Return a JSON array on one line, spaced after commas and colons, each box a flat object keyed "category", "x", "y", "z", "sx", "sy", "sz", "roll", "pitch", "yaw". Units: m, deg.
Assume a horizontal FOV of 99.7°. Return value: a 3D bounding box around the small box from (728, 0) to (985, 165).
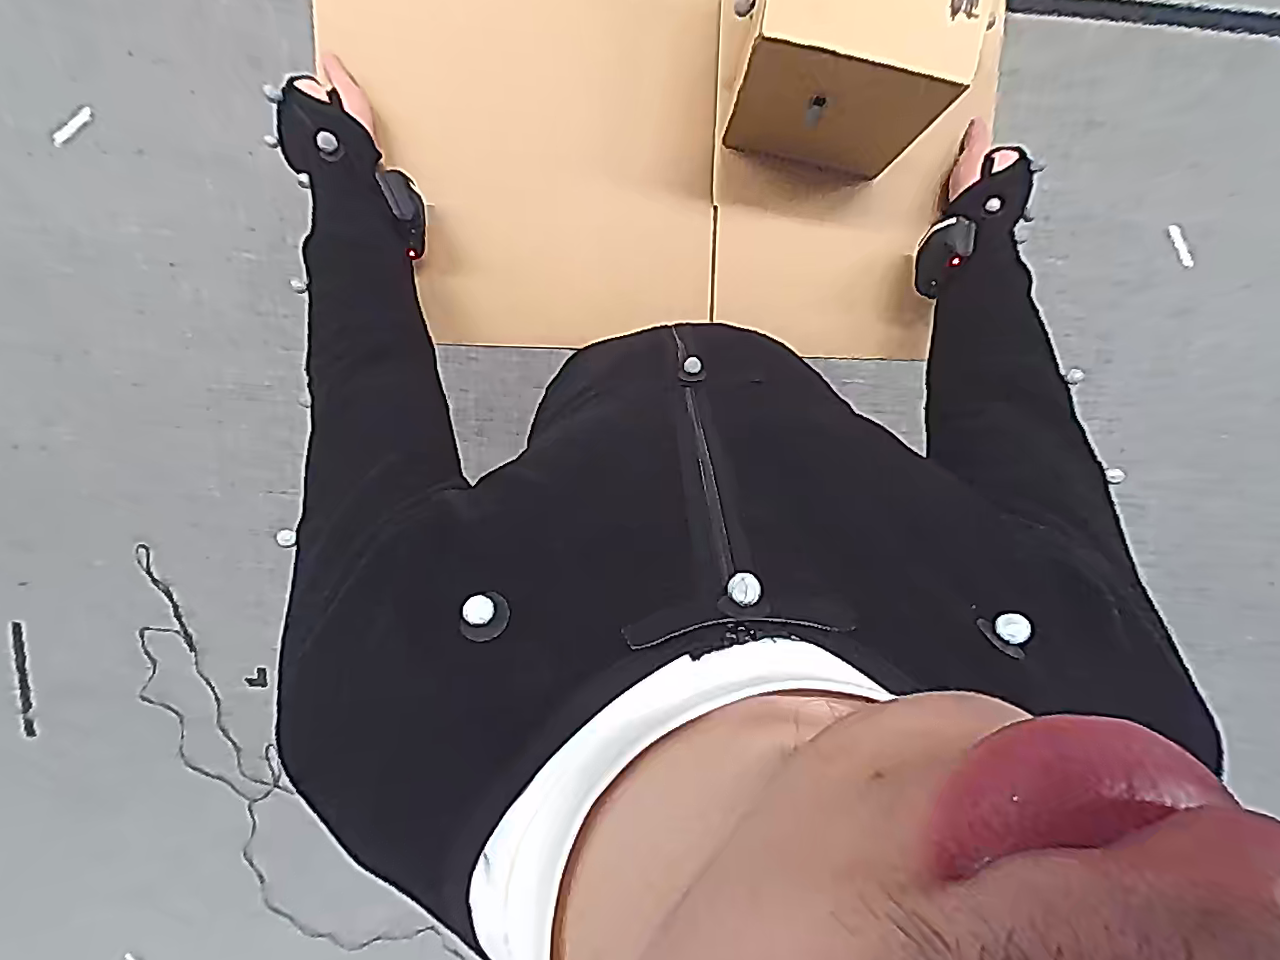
[{"category": "small box", "x": 0.189, "y": -0.421, "z": 0.496, "sx": 0.179, "sy": 0.176, "sz": 0.168, "roll": 11, "pitch": 97, "yaw": -2}]
